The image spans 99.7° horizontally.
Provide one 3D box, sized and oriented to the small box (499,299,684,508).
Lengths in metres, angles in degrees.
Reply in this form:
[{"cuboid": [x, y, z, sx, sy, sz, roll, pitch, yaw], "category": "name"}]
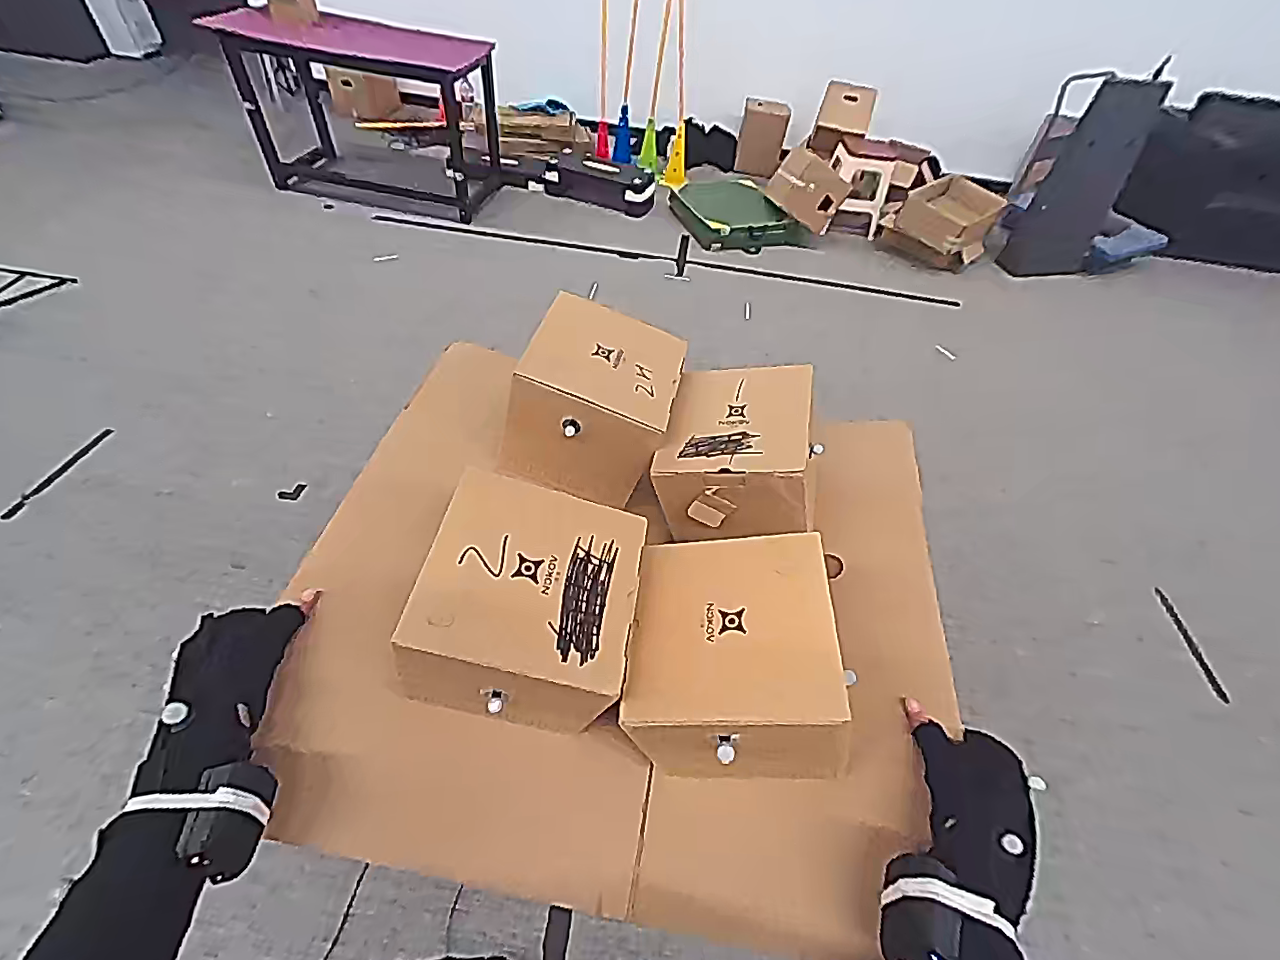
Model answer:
[{"cuboid": [-0.066, -0.090, 0.687, 0.179, 0.176, 0.168, 22, 51, -6], "category": "small box"}]
